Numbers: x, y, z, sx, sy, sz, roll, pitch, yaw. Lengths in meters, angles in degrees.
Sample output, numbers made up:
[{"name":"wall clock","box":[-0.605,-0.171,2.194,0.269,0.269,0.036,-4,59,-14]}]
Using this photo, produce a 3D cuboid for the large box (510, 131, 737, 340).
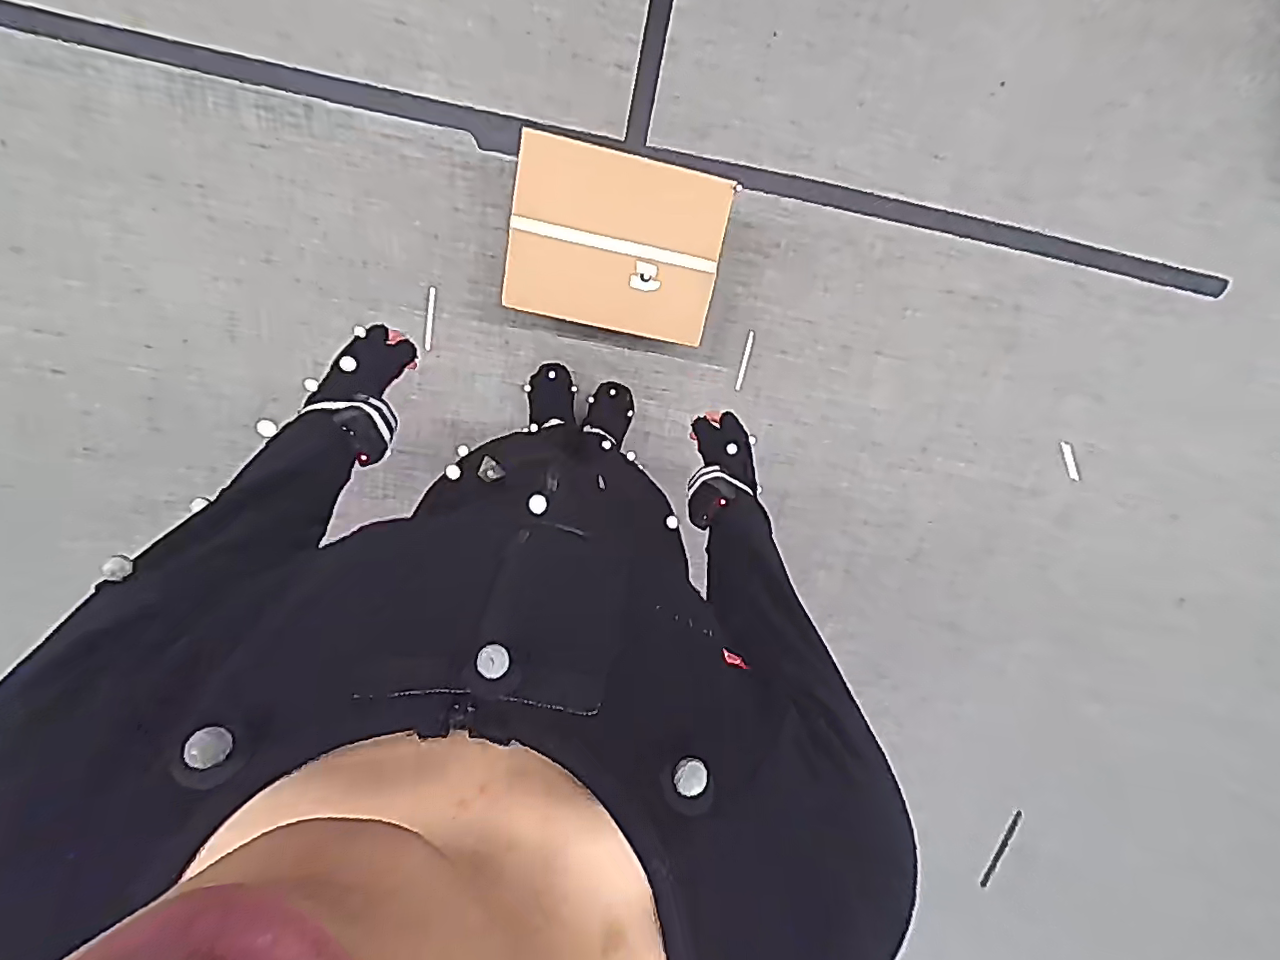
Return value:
[{"name":"large box","box":[-0.049,-0.505,1.182,0.408,0.320,0.320,9,108,-8]}]
